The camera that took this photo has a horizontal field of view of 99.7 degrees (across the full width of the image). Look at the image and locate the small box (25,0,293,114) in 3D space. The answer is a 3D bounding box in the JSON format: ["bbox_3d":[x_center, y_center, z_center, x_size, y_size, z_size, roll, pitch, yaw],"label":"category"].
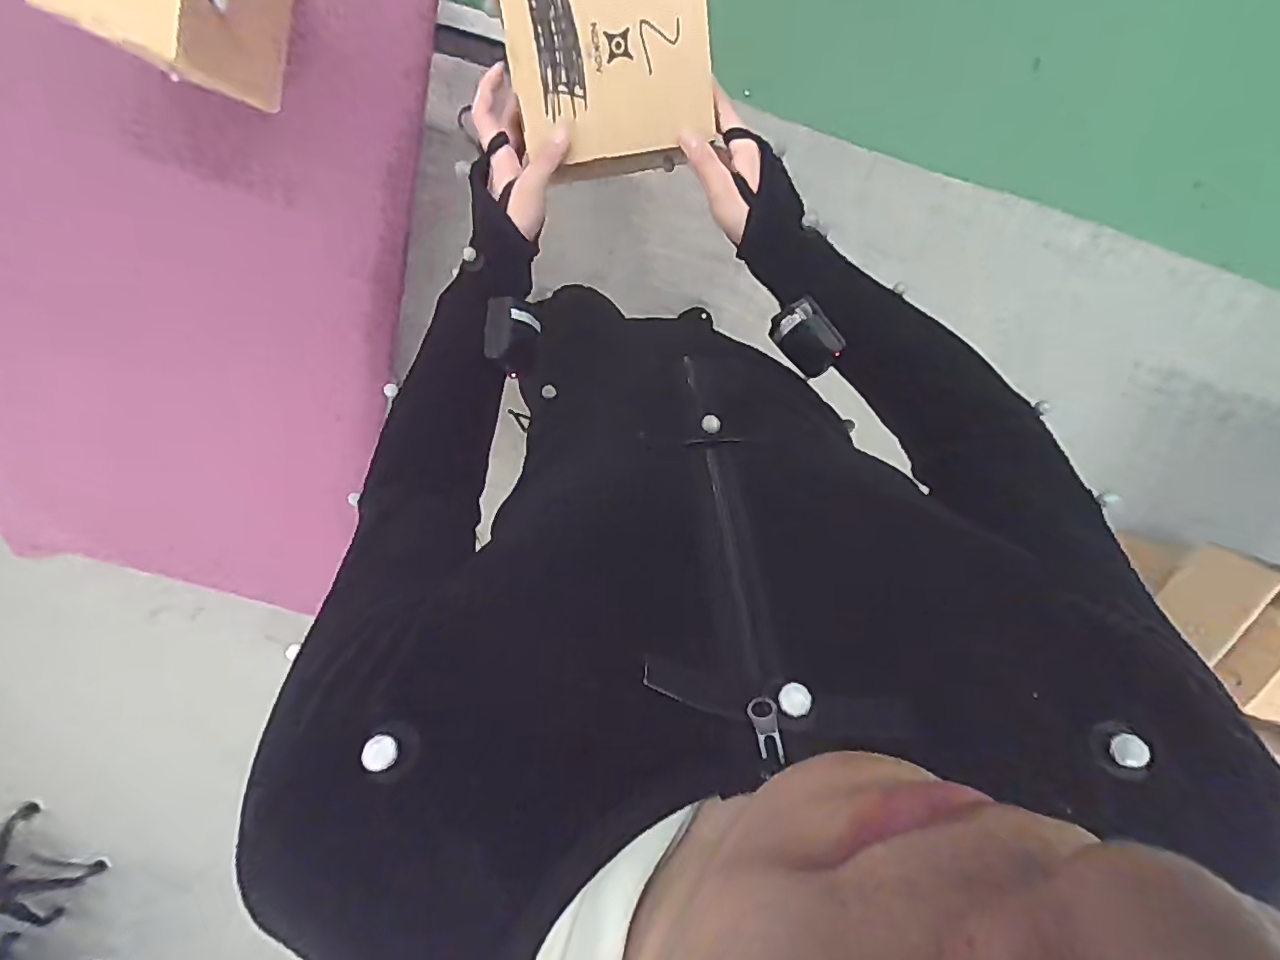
[{"bbox_3d":[-0.541,-0.573,0.628,0.168,0.176,0.179,20,108,-5],"label":"small box"}]

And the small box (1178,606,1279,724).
[{"bbox_3d":[1.384,0.416,1.213,0.168,0.176,0.179,18,107,-5],"label":"small box"}]
